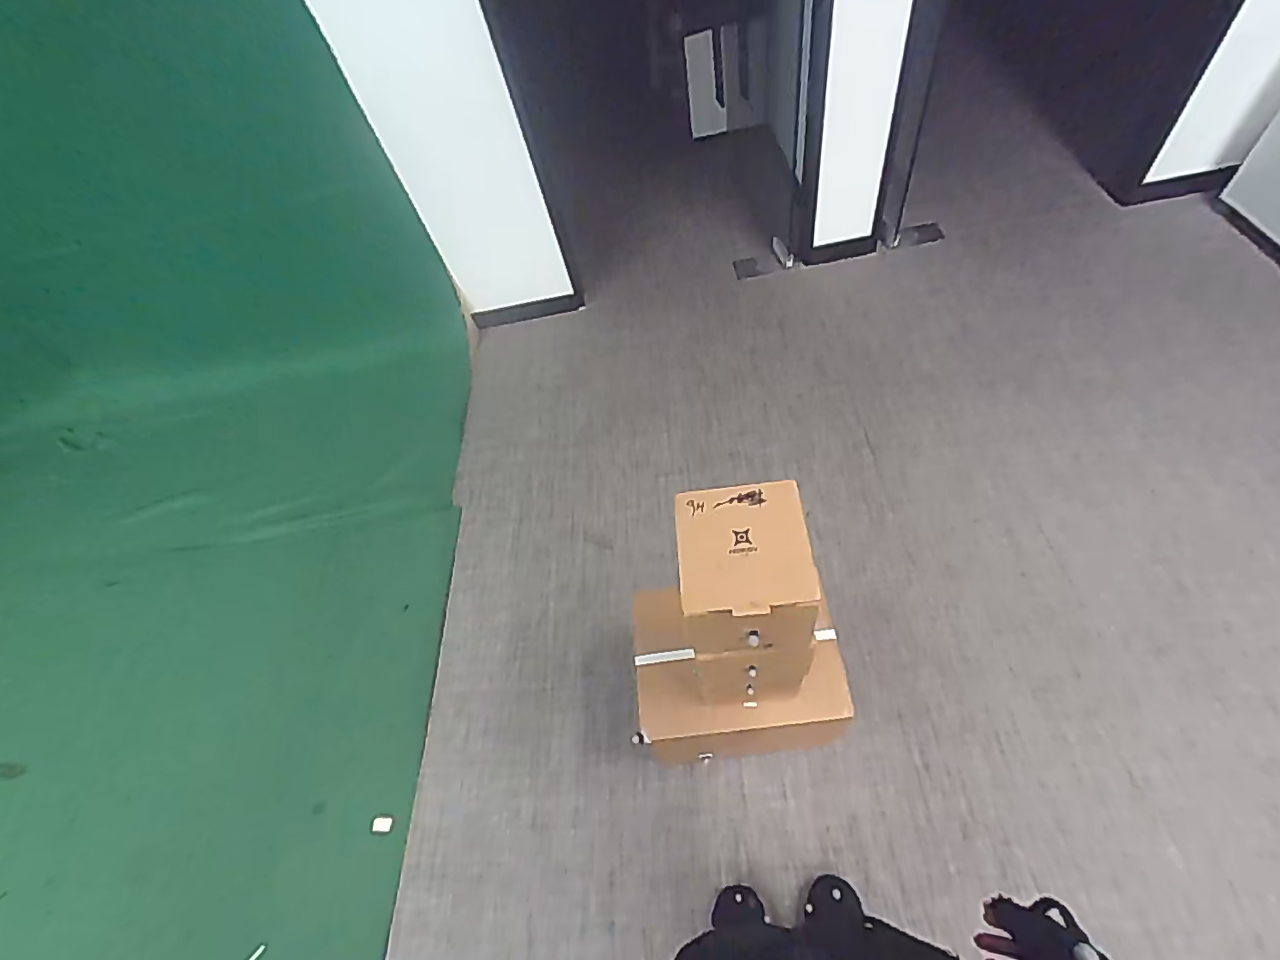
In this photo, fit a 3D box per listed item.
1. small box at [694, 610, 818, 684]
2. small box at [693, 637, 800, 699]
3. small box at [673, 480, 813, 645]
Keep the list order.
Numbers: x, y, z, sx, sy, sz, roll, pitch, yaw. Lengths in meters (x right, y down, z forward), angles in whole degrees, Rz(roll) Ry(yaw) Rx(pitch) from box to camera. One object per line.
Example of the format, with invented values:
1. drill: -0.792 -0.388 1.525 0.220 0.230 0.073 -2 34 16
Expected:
1. small box: 0.172 0.220 0.880 0.179 0.176 0.168 -11 56 4
2. small box: 0.193 0.306 1.018 0.179 0.176 0.168 -7 56 6
3. small box: 0.140 0.123 0.752 0.168 0.176 0.179 -7 57 9
